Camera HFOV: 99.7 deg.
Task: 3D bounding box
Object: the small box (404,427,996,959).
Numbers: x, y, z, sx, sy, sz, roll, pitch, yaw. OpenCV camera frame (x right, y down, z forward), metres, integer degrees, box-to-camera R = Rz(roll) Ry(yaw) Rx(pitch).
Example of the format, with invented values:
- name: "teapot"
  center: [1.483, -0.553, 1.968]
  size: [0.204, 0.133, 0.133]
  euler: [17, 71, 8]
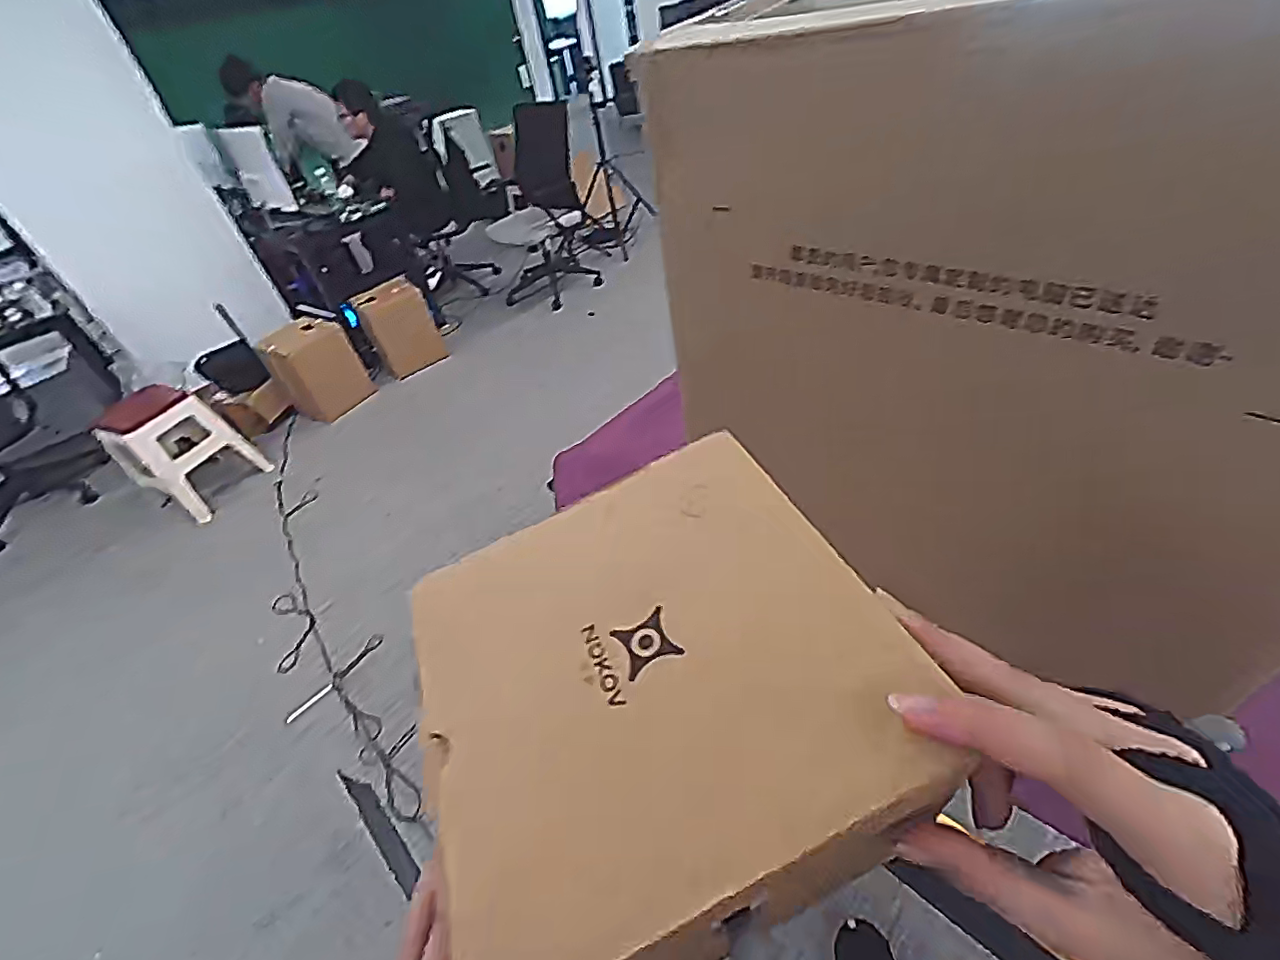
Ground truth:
- name: "small box"
  center: [0.018, 0.113, 0.263]
  size: [0.179, 0.176, 0.168]
  euler: [-27, 48, -5]
